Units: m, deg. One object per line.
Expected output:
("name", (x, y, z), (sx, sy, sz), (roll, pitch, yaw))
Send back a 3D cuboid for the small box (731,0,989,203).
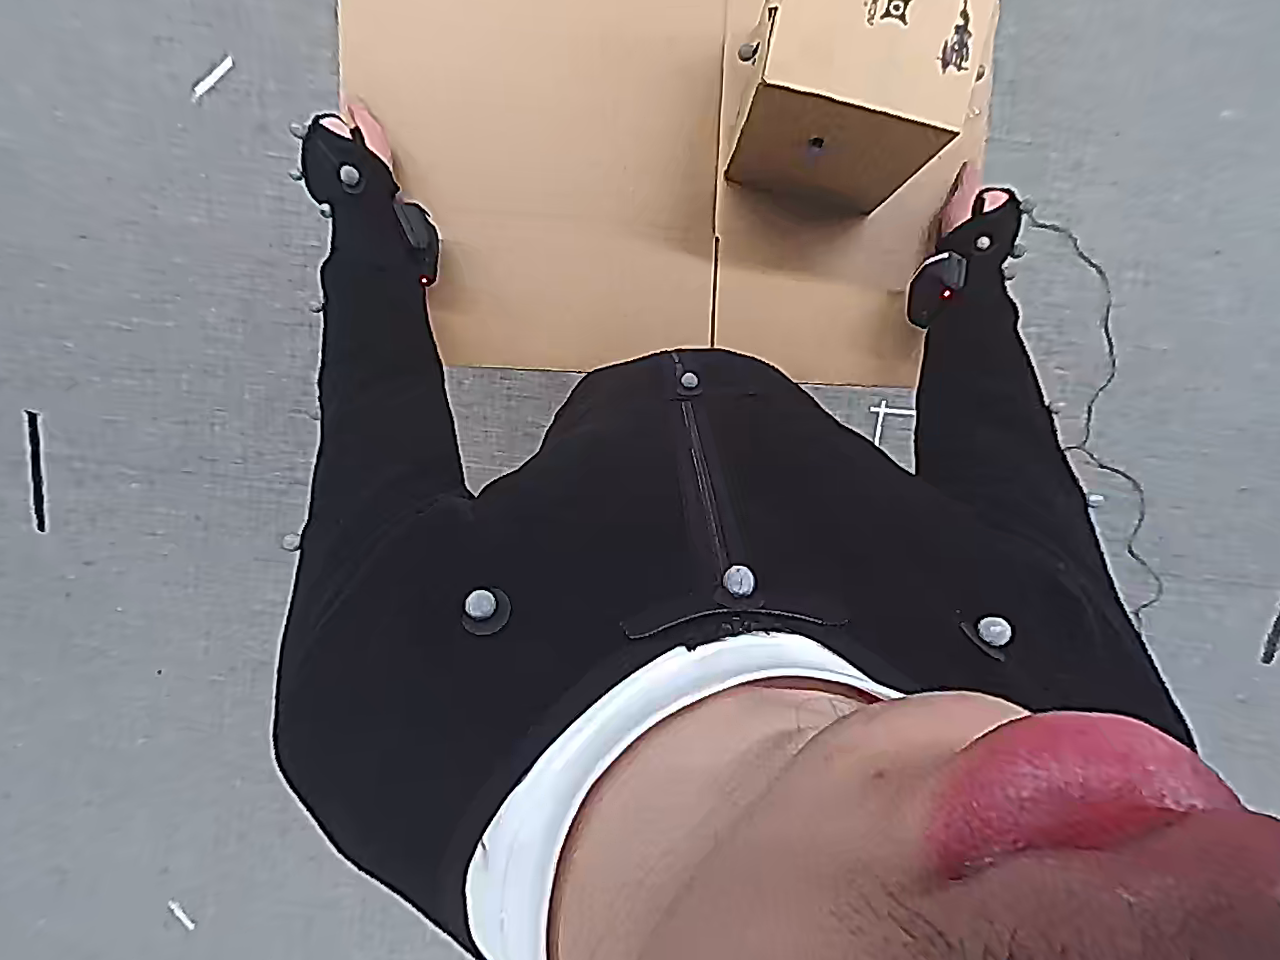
("small box", (0.198, -0.398, 0.525), (0.179, 0.176, 0.168), (13, 95, -2))
